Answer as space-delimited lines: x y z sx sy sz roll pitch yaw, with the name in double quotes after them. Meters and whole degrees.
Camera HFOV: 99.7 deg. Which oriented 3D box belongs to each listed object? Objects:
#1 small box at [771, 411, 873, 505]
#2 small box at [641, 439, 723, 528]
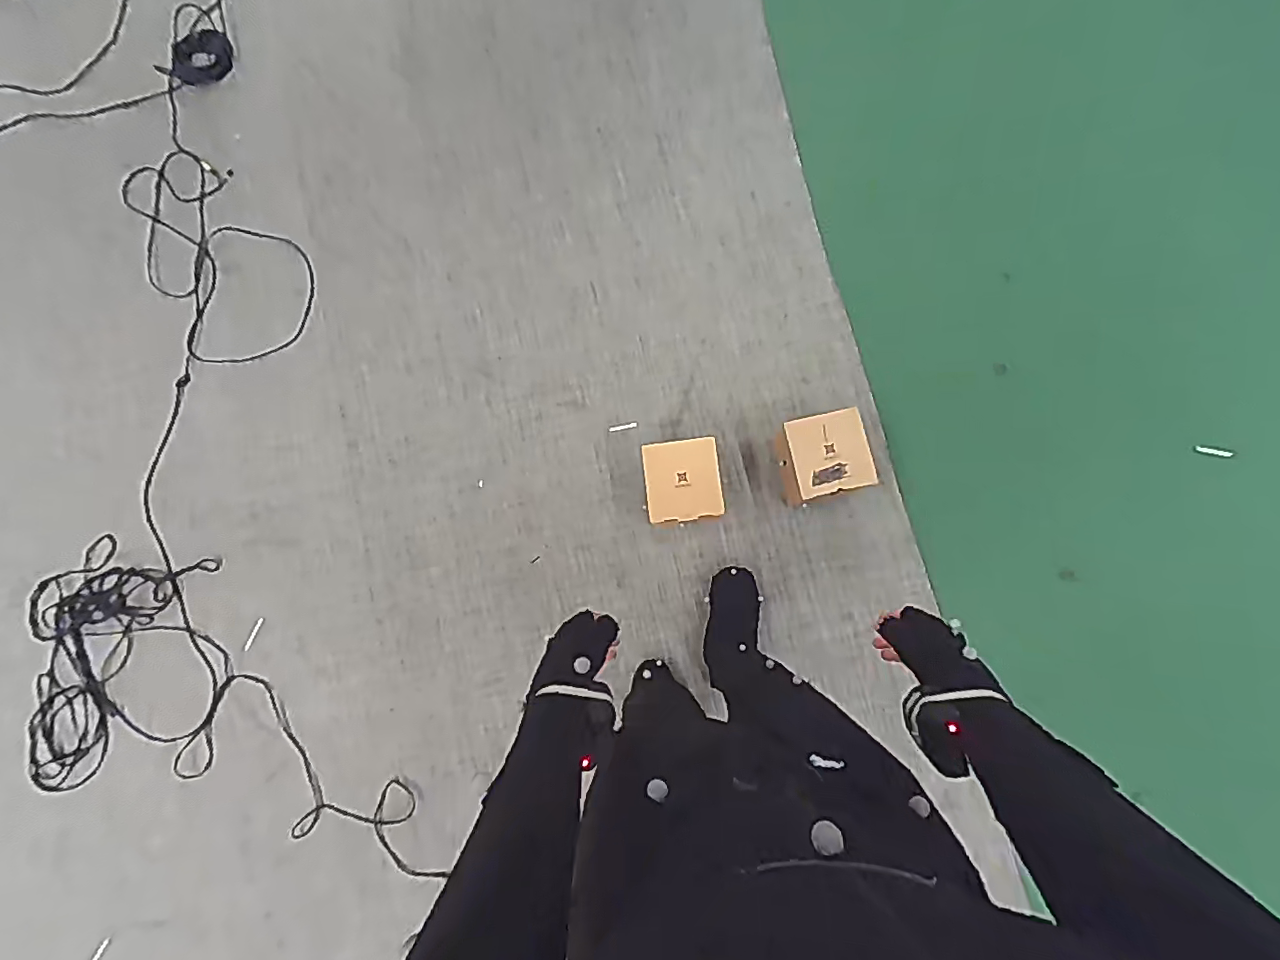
0.409 -0.042 1.242 0.168 0.176 0.179 -12 82 3 "small box"
0.096 0.014 1.262 0.168 0.176 0.179 -7 83 4 "small box"
